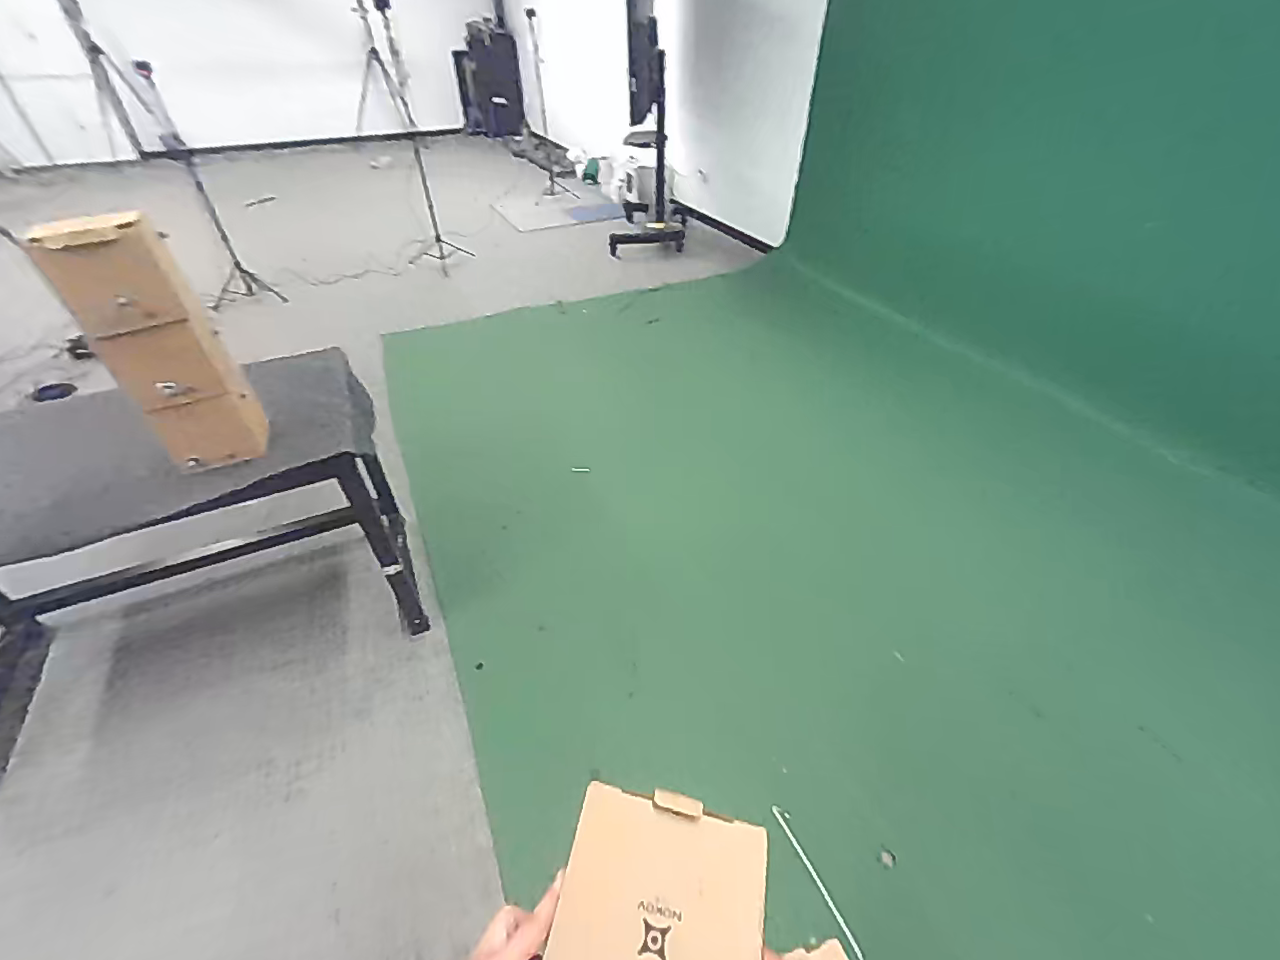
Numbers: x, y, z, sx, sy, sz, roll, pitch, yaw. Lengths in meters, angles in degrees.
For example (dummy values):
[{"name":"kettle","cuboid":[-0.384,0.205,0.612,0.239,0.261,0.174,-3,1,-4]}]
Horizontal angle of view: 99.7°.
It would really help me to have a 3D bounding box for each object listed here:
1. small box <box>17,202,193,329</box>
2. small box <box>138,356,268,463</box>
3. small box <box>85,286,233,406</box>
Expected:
[{"name":"small box","cuboid":[-0.976,-0.401,1.008,0.168,0.176,0.179,-24,44,-22]},{"name":"small box","cuboid":[-0.974,-0.156,1.226,0.168,0.176,0.179,-18,41,-18]},{"name":"small box","cuboid":[-0.977,-0.278,1.119,0.168,0.176,0.179,-22,44,-21]}]
